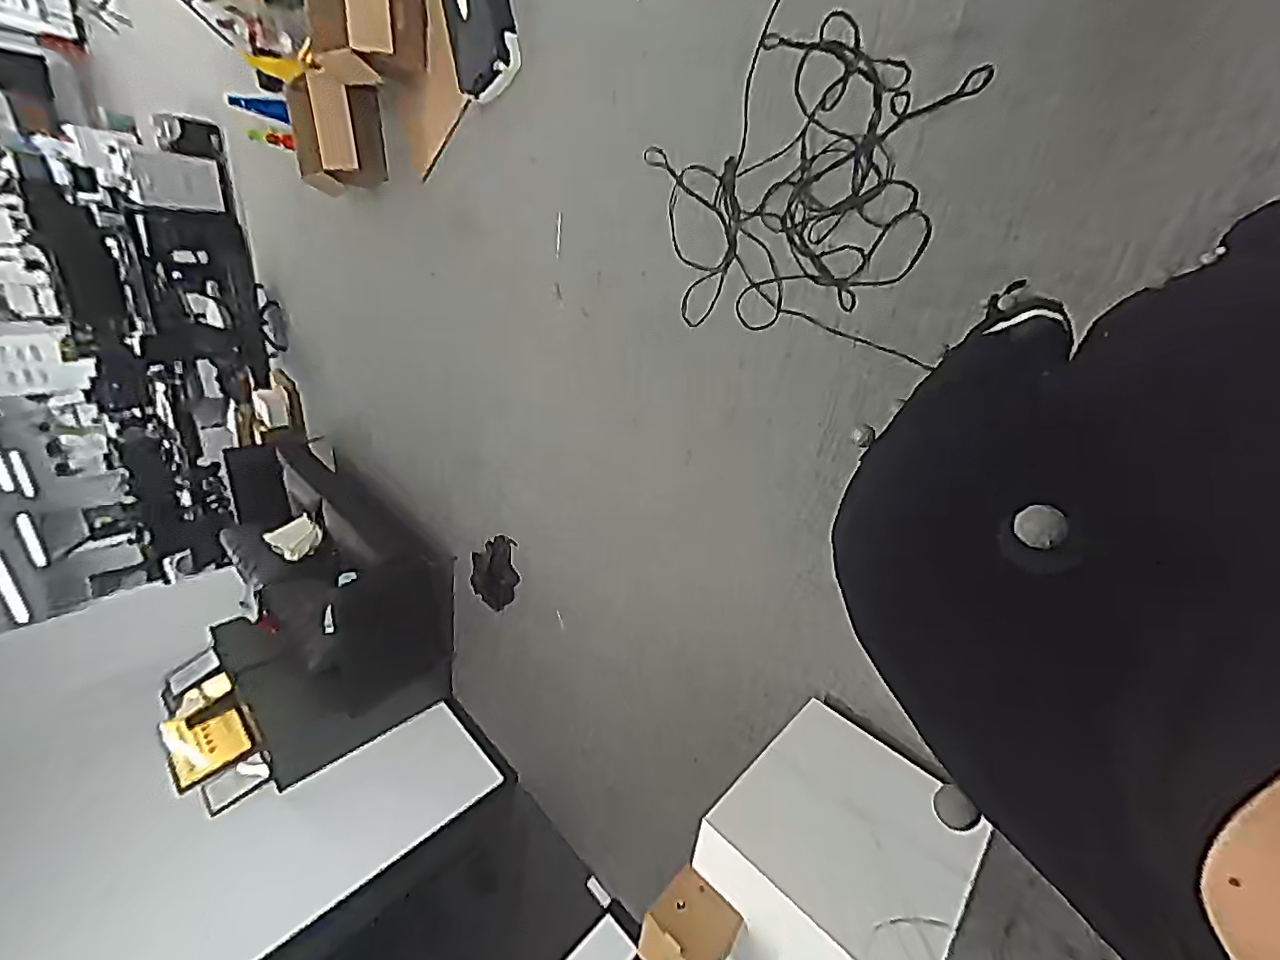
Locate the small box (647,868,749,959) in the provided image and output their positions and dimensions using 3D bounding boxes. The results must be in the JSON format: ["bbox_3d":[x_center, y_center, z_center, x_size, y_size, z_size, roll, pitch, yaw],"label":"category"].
[{"bbox_3d":[0.138,1.085,1.285,0.168,0.176,0.179,27,123,37],"label":"small box"}]
